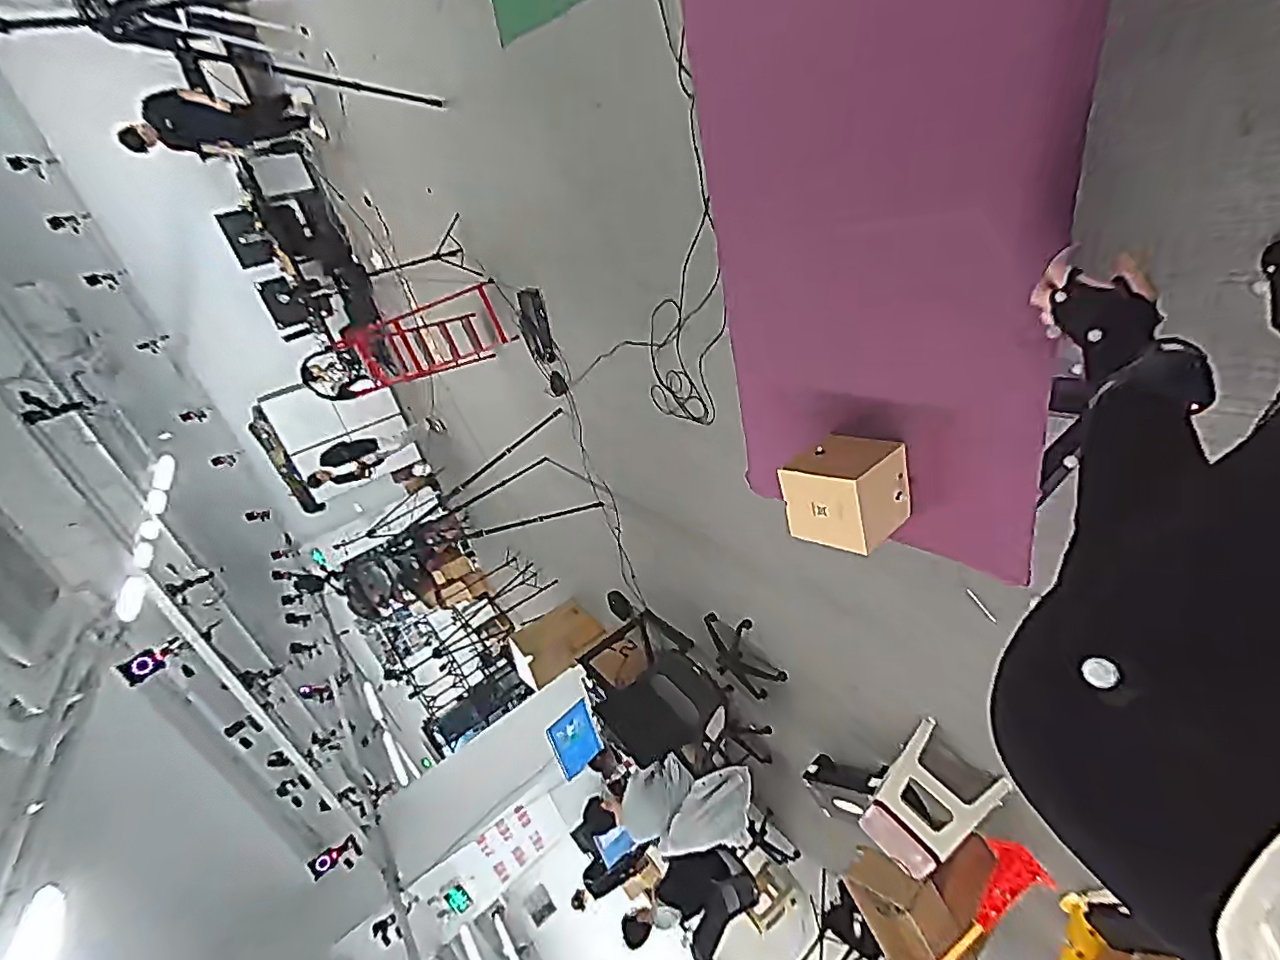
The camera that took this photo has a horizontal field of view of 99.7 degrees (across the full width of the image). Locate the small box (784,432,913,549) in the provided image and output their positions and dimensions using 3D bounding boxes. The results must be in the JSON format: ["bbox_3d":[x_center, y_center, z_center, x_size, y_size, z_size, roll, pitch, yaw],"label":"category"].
[{"bbox_3d":[0.428,0.012,1.111,0.179,0.176,0.168,17,131,54],"label":"small box"}]
